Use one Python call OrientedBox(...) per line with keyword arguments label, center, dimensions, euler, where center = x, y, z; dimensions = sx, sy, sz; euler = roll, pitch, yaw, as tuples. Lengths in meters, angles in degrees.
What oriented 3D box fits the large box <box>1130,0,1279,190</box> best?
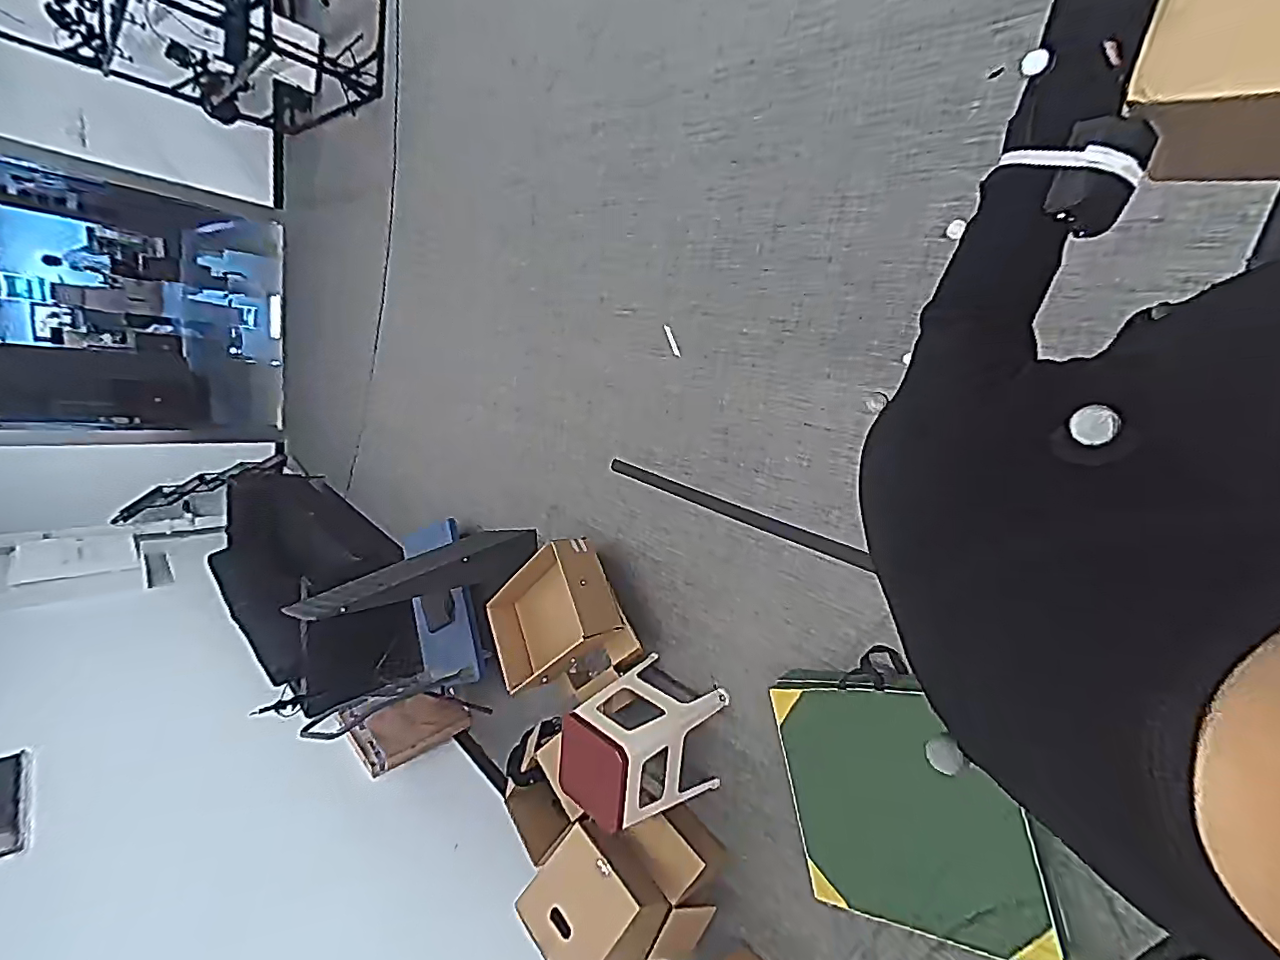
OrientedBox(label="large box", center=(0.596, -0.369, 0.309), dimensions=(0.408, 0.320, 0.320), euler=(23, 118, 38))
